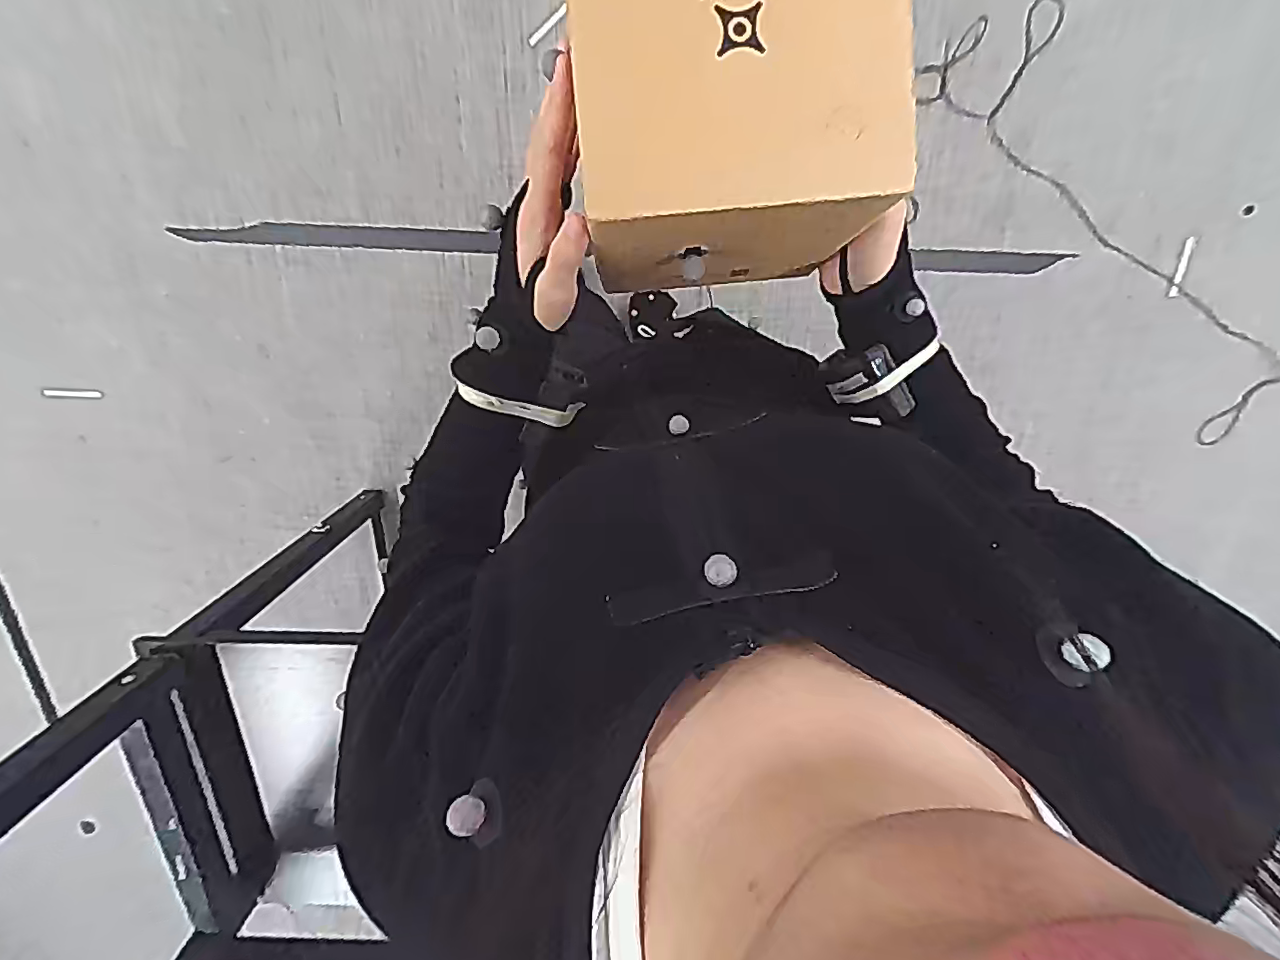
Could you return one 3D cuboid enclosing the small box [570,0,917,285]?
[{"bbox_3d":[0.049,-0.229,0.338,0.168,0.176,0.179,-5,96,0],"label":"small box"}]
